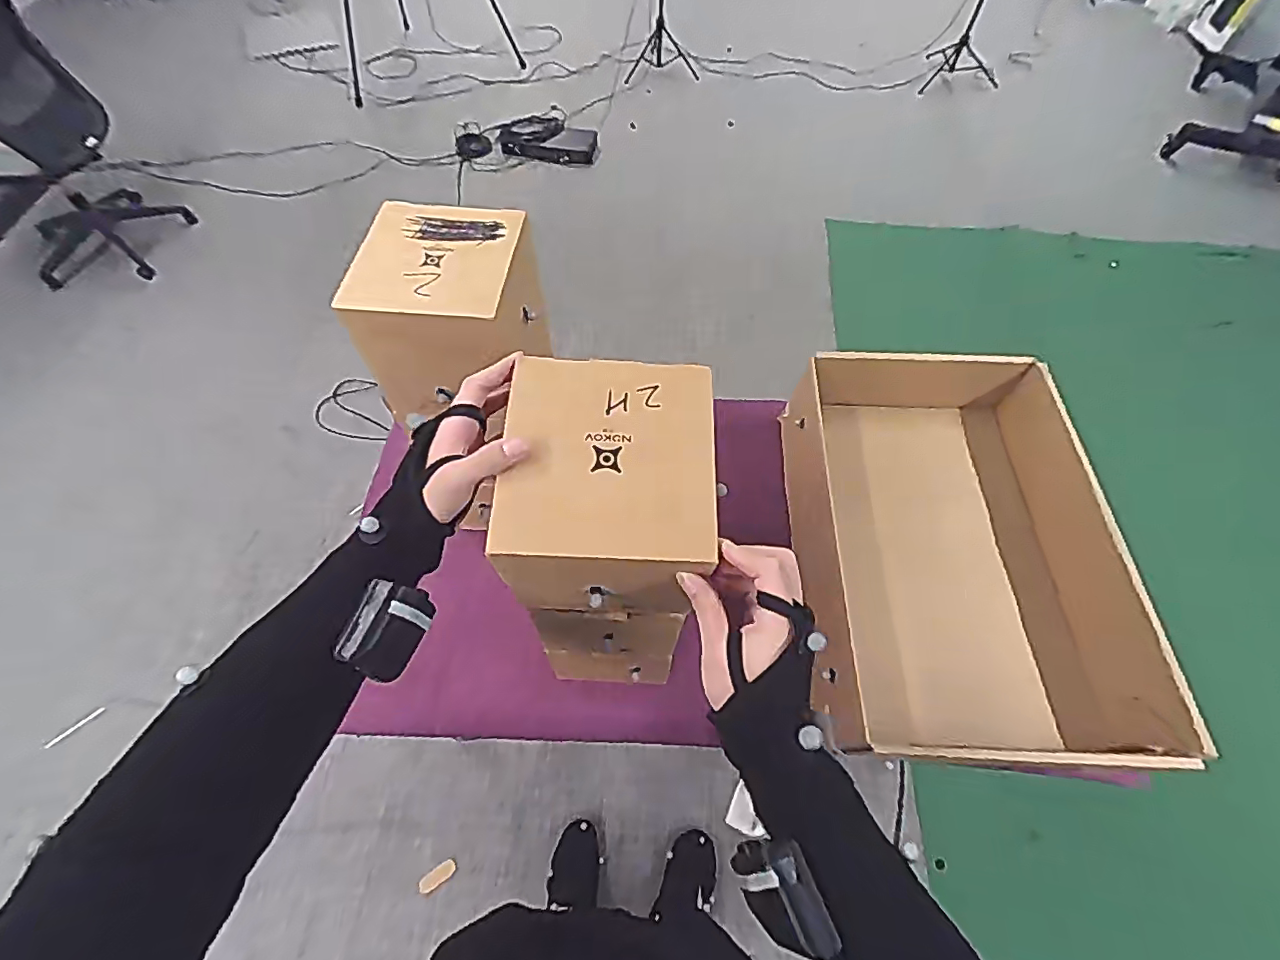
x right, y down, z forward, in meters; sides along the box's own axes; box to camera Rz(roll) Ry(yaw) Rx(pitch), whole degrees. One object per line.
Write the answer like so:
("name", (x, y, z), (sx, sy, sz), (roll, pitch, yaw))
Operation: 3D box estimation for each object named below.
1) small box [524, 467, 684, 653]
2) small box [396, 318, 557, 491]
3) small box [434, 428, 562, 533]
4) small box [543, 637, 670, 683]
("small box", (-0.035, 0.104, 0.658), (0.168, 0.176, 0.179), (3, 59, 0))
("small box", (-0.219, -0.106, 0.783), (0.168, 0.176, 0.179), (5, 59, 2))
("small box", (-0.228, -0.019, 0.922), (0.168, 0.176, 0.179), (1, 58, 0))
("small box", (-0.039, 0.192, 0.796), (0.168, 0.176, 0.179), (3, 57, 0))
